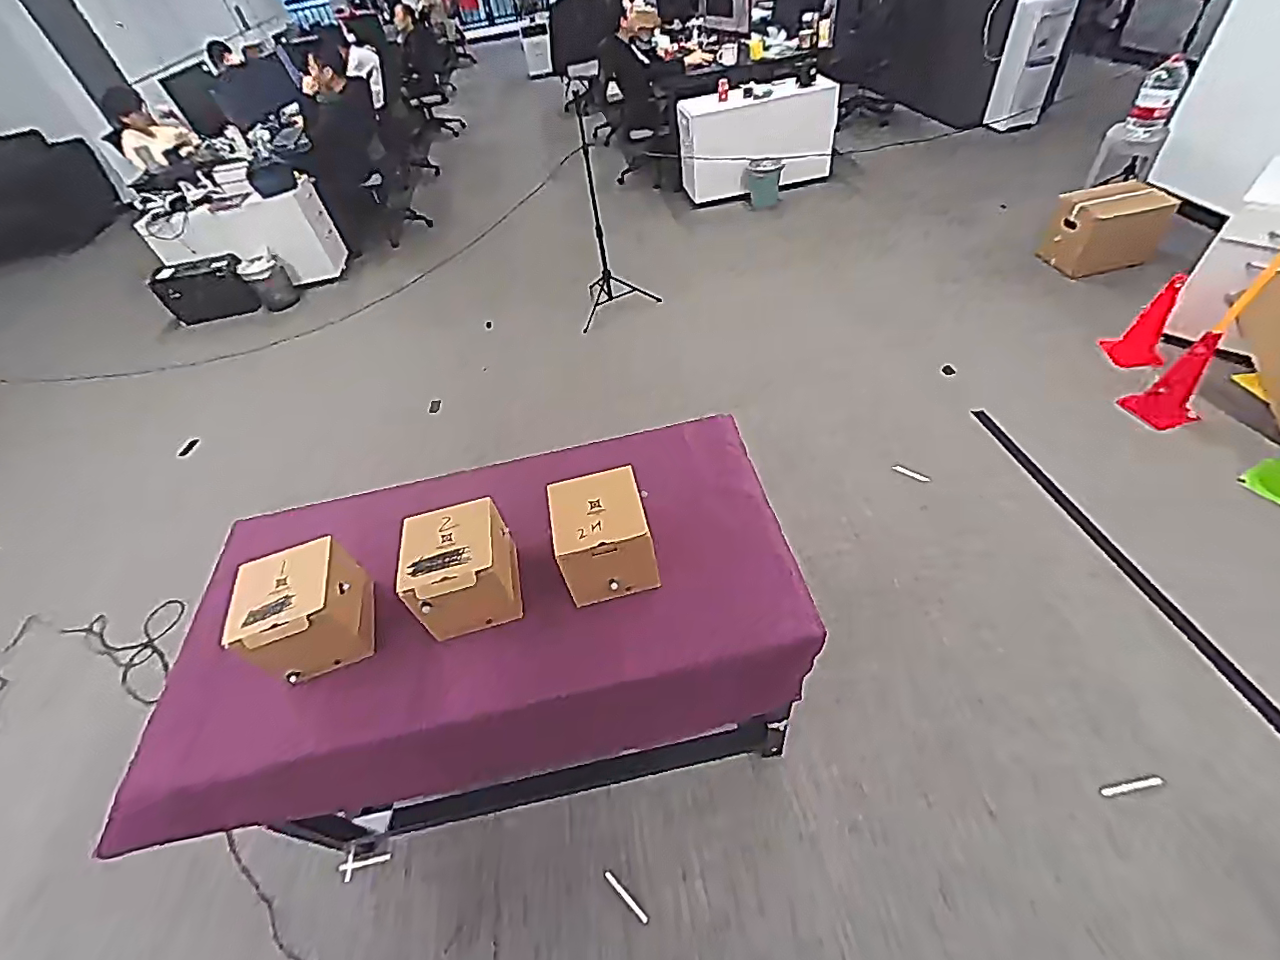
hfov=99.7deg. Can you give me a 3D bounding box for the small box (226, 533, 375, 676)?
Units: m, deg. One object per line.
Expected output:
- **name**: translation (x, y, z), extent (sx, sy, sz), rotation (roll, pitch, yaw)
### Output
- **small box**: translation (-0.606, 0.235, 0.991), extent (0.168, 0.176, 0.179), rotation (-19, 47, -8)

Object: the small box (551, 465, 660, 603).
- **small box**: translation (-0.065, 0.102, 1.019), extent (0.168, 0.176, 0.179), rotation (-13, 47, -2)
